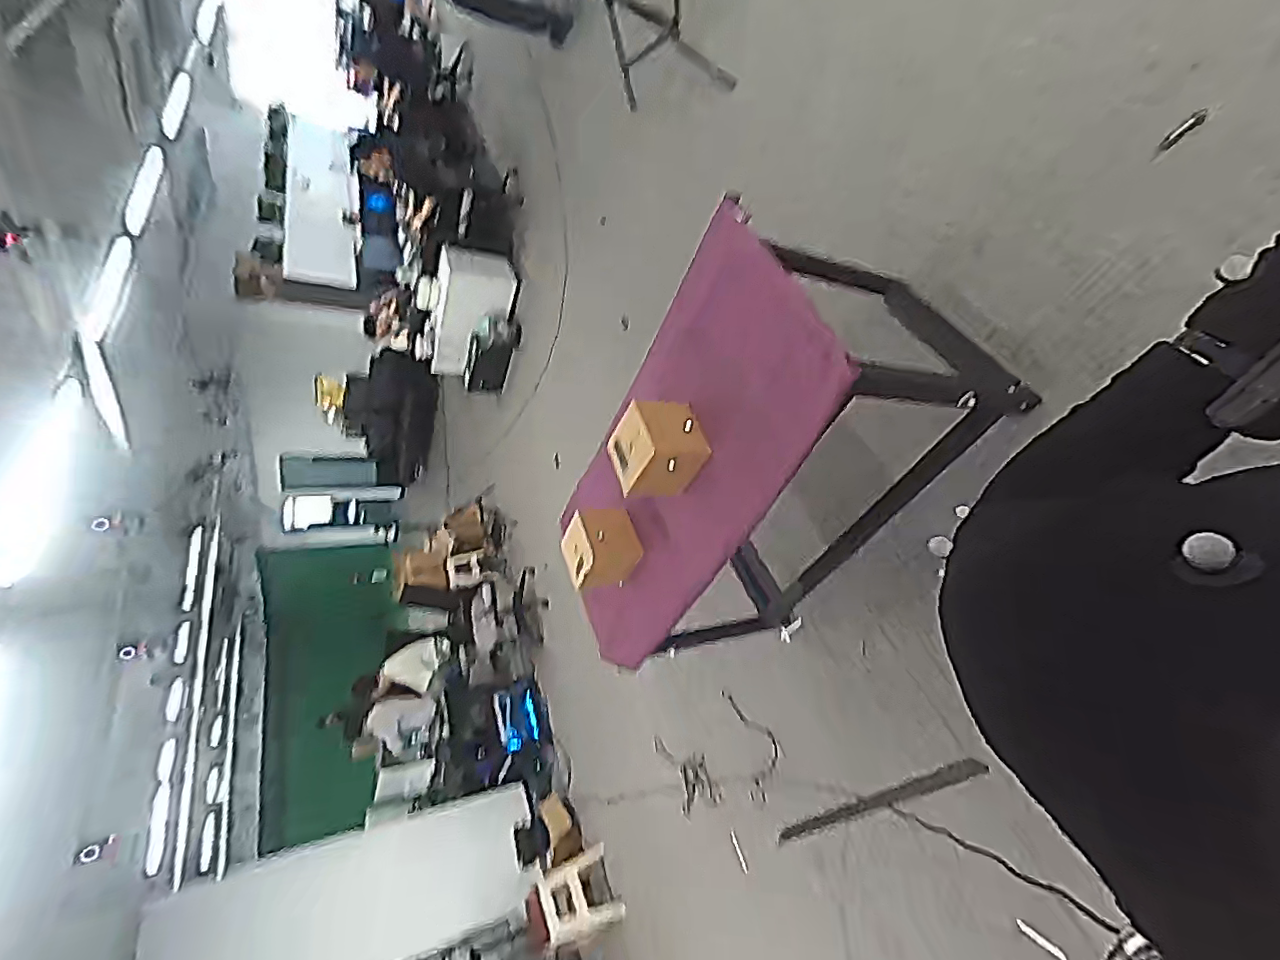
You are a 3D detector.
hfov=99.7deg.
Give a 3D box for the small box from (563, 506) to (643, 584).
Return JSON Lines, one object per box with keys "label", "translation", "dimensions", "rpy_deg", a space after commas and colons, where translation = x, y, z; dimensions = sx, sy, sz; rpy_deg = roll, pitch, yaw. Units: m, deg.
{"label": "small box", "translation": [-0.112, 0.191, 1.637], "dimensions": [0.168, 0.176, 0.179], "rpy_deg": [-59, 43, 41]}
